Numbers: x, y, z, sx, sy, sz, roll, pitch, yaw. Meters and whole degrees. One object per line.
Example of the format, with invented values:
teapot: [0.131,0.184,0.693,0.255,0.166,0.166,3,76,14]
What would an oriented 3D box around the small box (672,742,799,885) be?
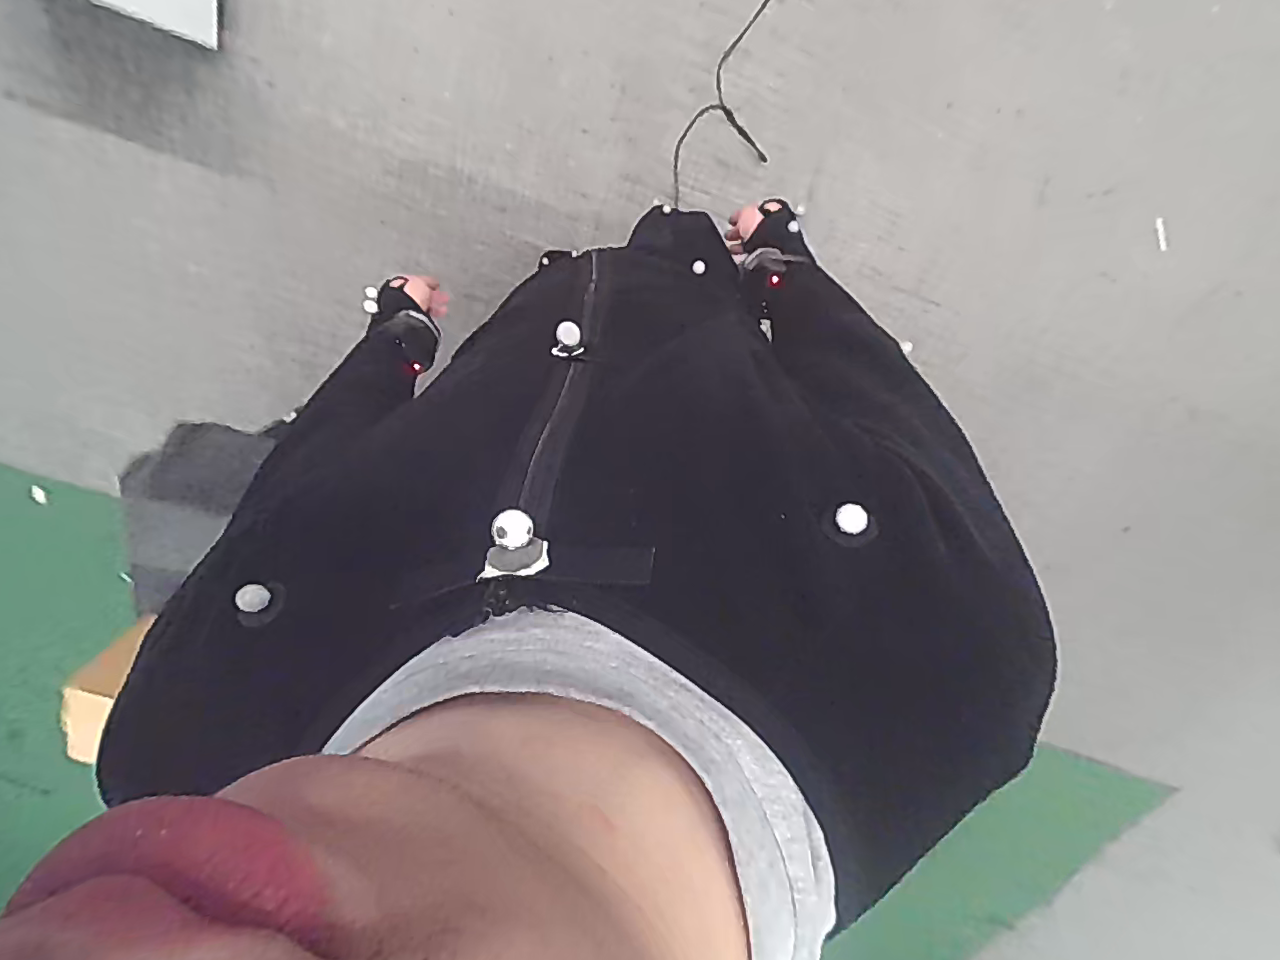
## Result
small box: [0.172,0.634,1.038,0.179,0.176,0.168,13,113,-8]
